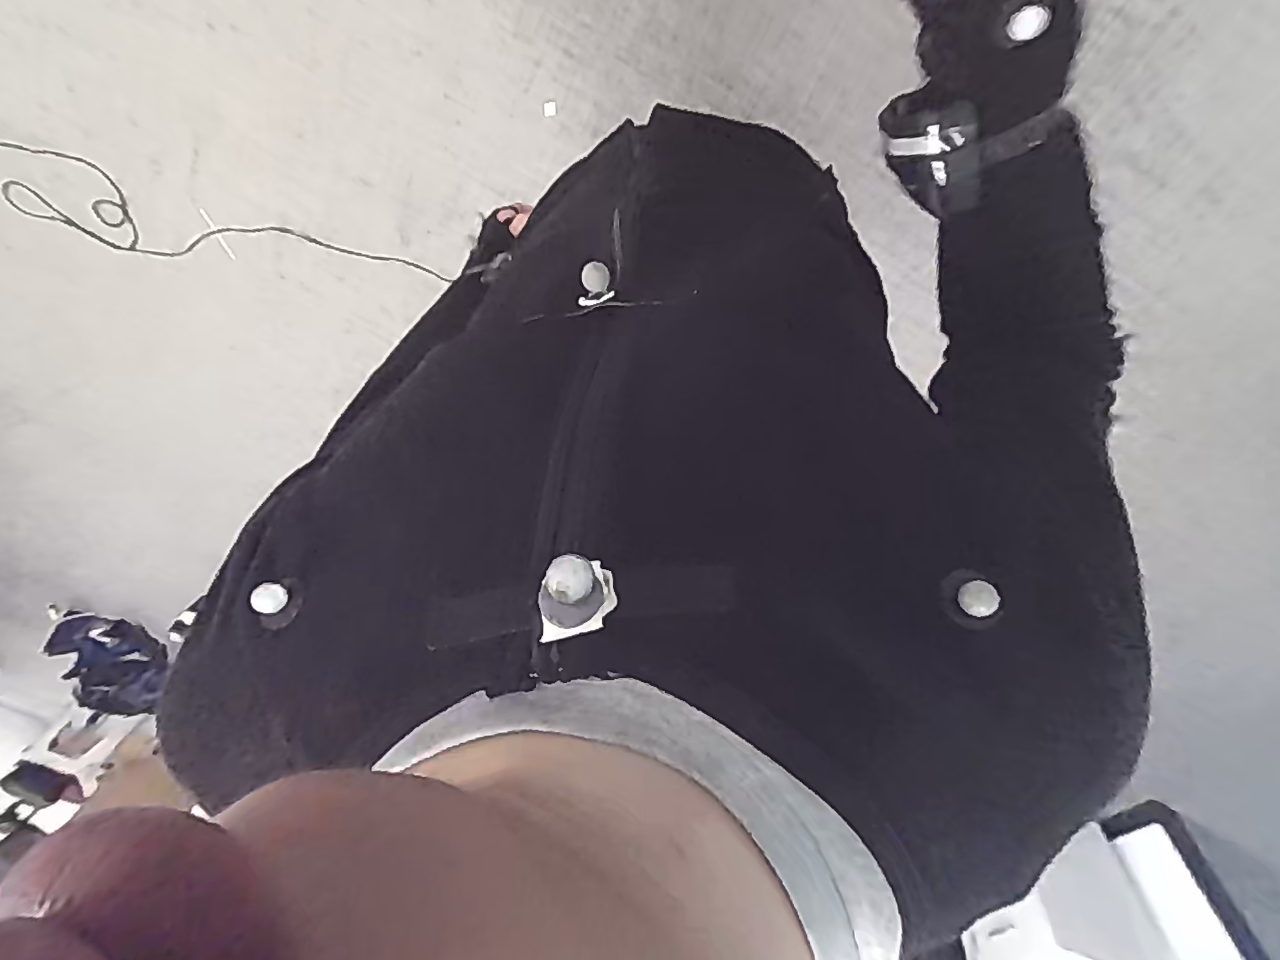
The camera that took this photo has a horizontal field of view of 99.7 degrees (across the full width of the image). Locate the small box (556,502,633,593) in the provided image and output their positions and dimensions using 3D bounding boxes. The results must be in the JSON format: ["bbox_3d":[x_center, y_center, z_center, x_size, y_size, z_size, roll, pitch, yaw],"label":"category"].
[{"bbox_3d":[-0.131,0.200,1.622,0.168,0.176,0.179,23,124,-7],"label":"small box"}]
